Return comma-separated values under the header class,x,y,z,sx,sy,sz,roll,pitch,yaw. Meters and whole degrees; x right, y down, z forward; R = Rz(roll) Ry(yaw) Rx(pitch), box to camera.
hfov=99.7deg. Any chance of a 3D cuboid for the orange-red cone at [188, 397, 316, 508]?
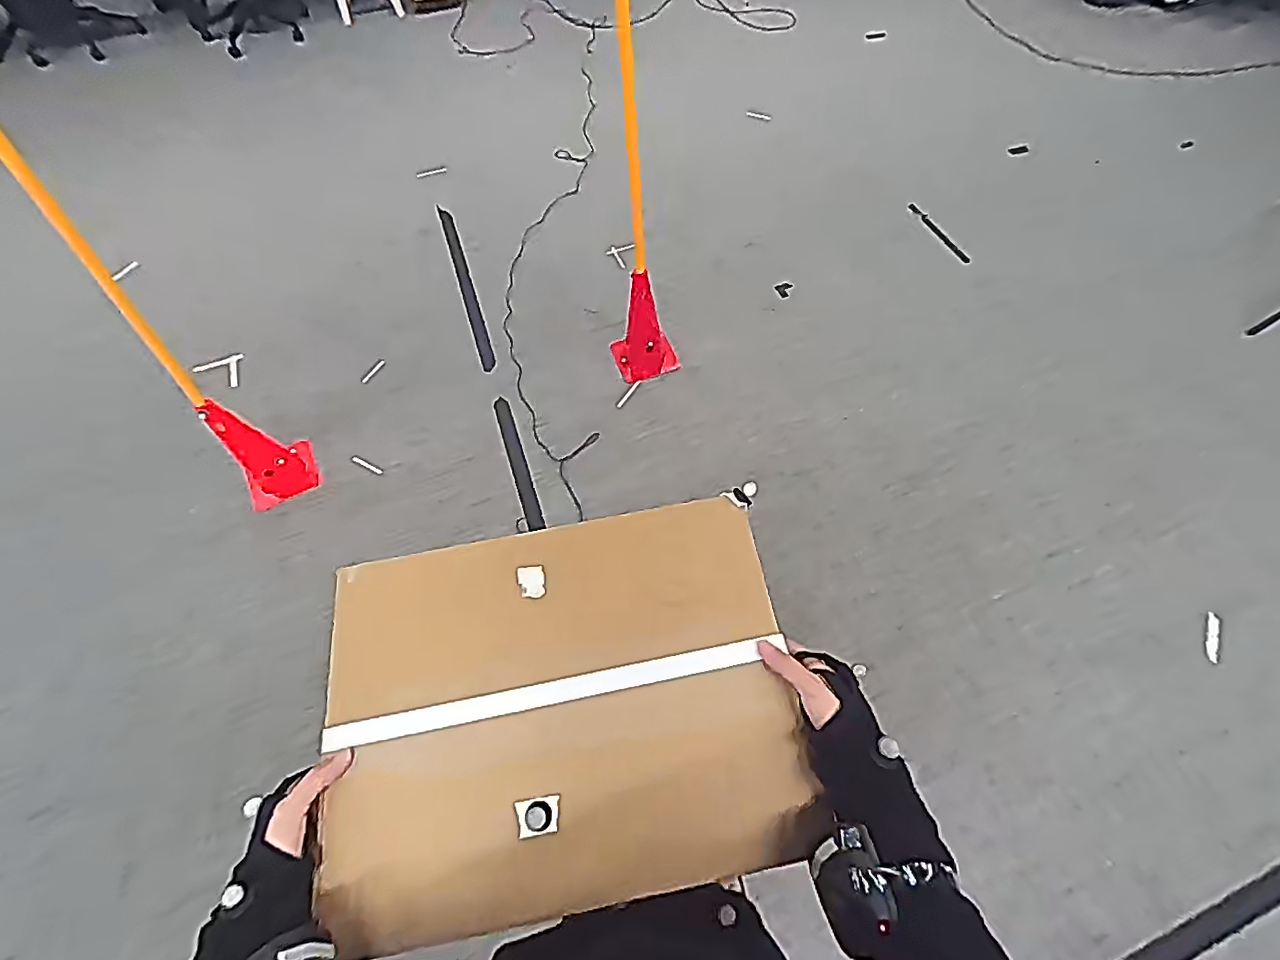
class,x,y,z,sx,sy,sz,roll,pitch,yaw
orange-red cone,-1.116,-0.106,1.514,0.199,0.360,0.198,-27,61,-12
